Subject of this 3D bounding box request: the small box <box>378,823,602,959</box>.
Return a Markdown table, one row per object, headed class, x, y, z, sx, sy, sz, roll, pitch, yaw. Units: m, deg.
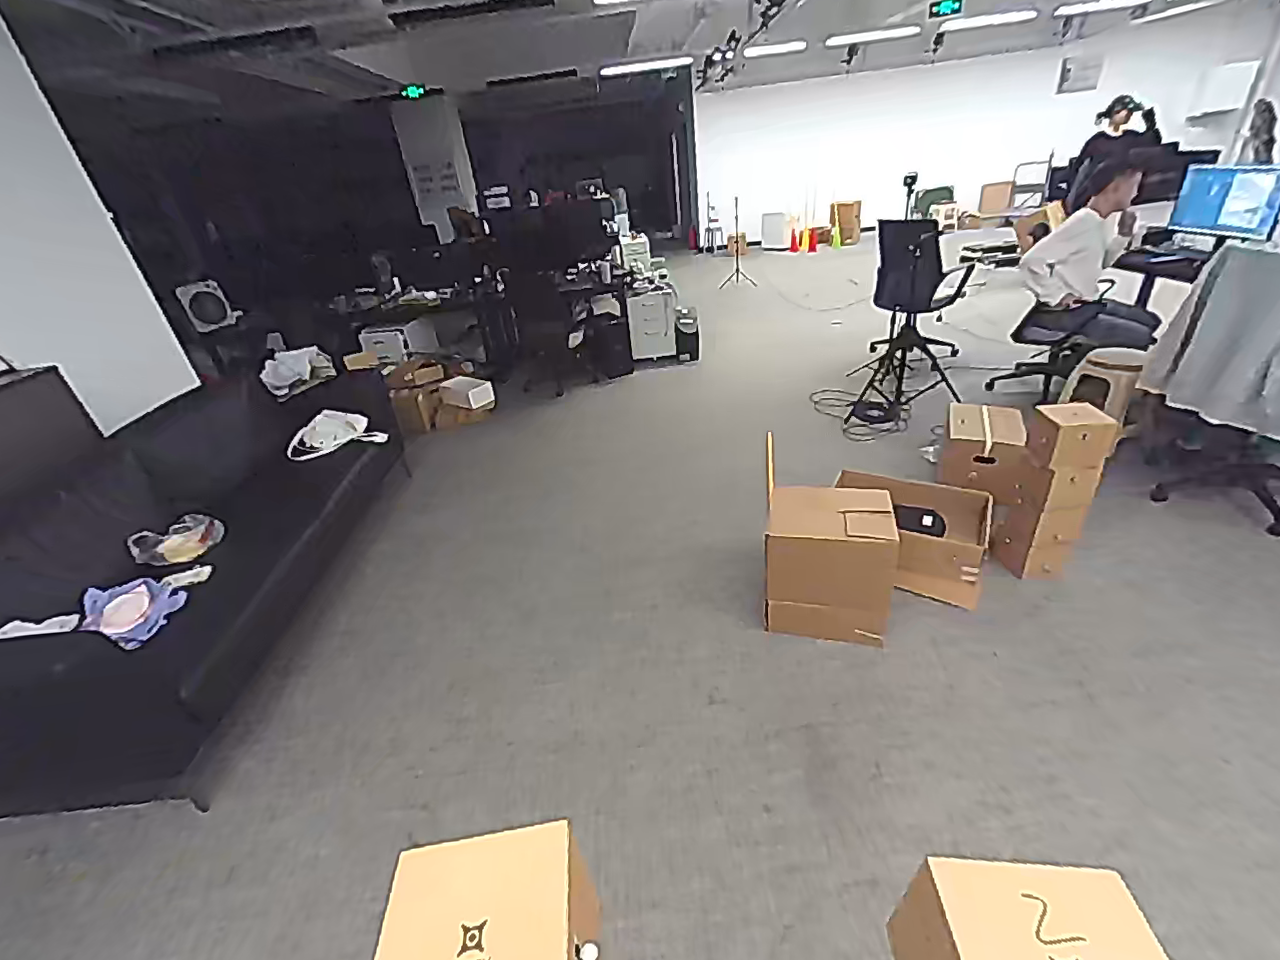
| class | x | y | z | sx | sy | sz | roll | pitch | yaw |
| --- | --- | --- | --- | --- | --- | --- | --- | --- | --- |
| small box | -0.127 | 0.456 | 0.490 | 0.168 | 0.176 | 0.179 | -10 | 32 | -2 |
